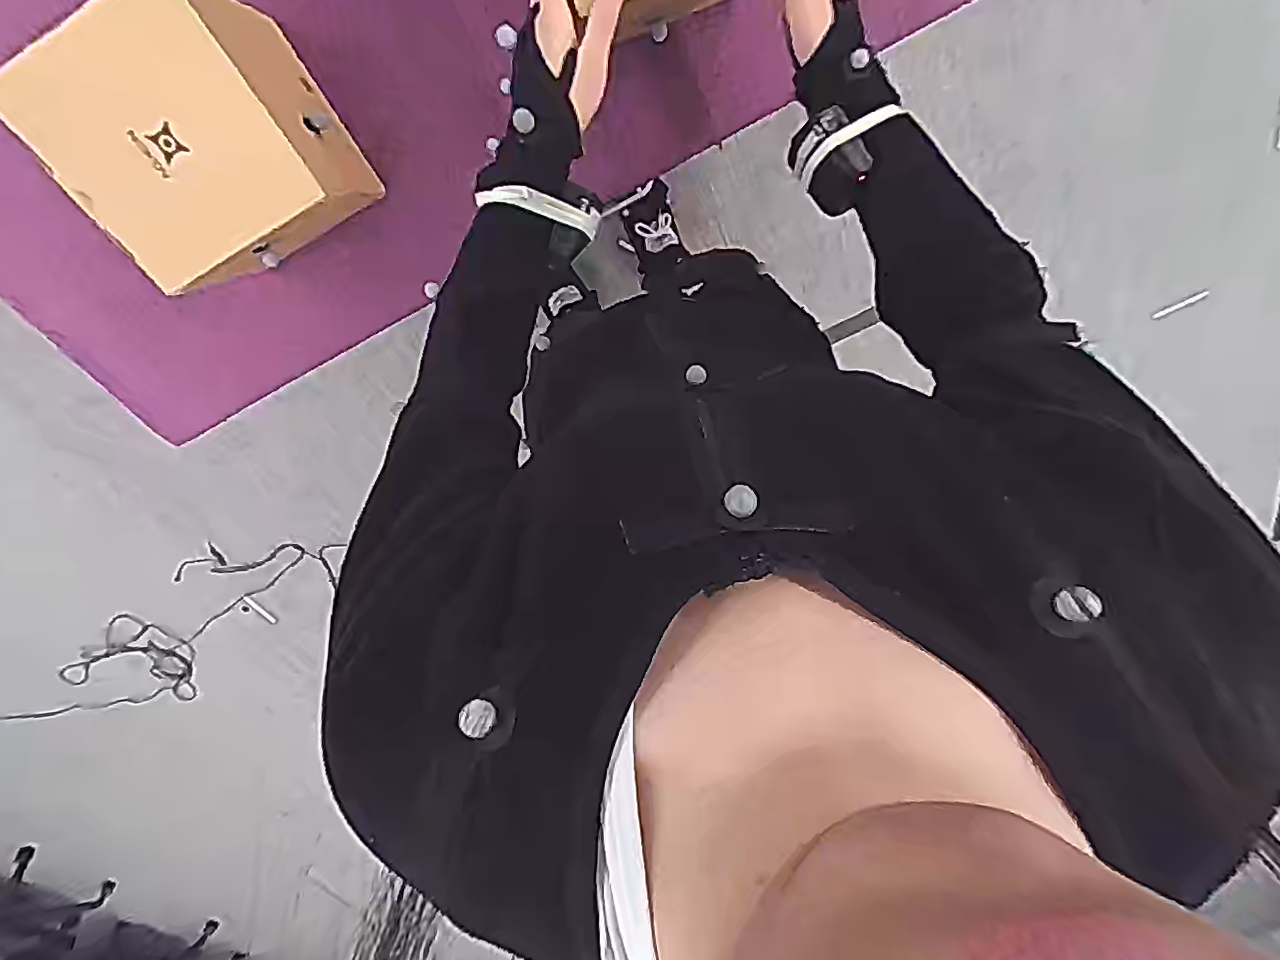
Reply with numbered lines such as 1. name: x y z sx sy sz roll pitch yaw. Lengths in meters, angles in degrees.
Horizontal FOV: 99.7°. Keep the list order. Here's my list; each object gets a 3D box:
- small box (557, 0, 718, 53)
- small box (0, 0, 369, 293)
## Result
1. small box: -0.007 -0.480 0.424 0.168 0.176 0.179 -19 121 4
2. small box: -0.378 -0.299 0.489 0.179 0.176 0.168 -26 119 9
